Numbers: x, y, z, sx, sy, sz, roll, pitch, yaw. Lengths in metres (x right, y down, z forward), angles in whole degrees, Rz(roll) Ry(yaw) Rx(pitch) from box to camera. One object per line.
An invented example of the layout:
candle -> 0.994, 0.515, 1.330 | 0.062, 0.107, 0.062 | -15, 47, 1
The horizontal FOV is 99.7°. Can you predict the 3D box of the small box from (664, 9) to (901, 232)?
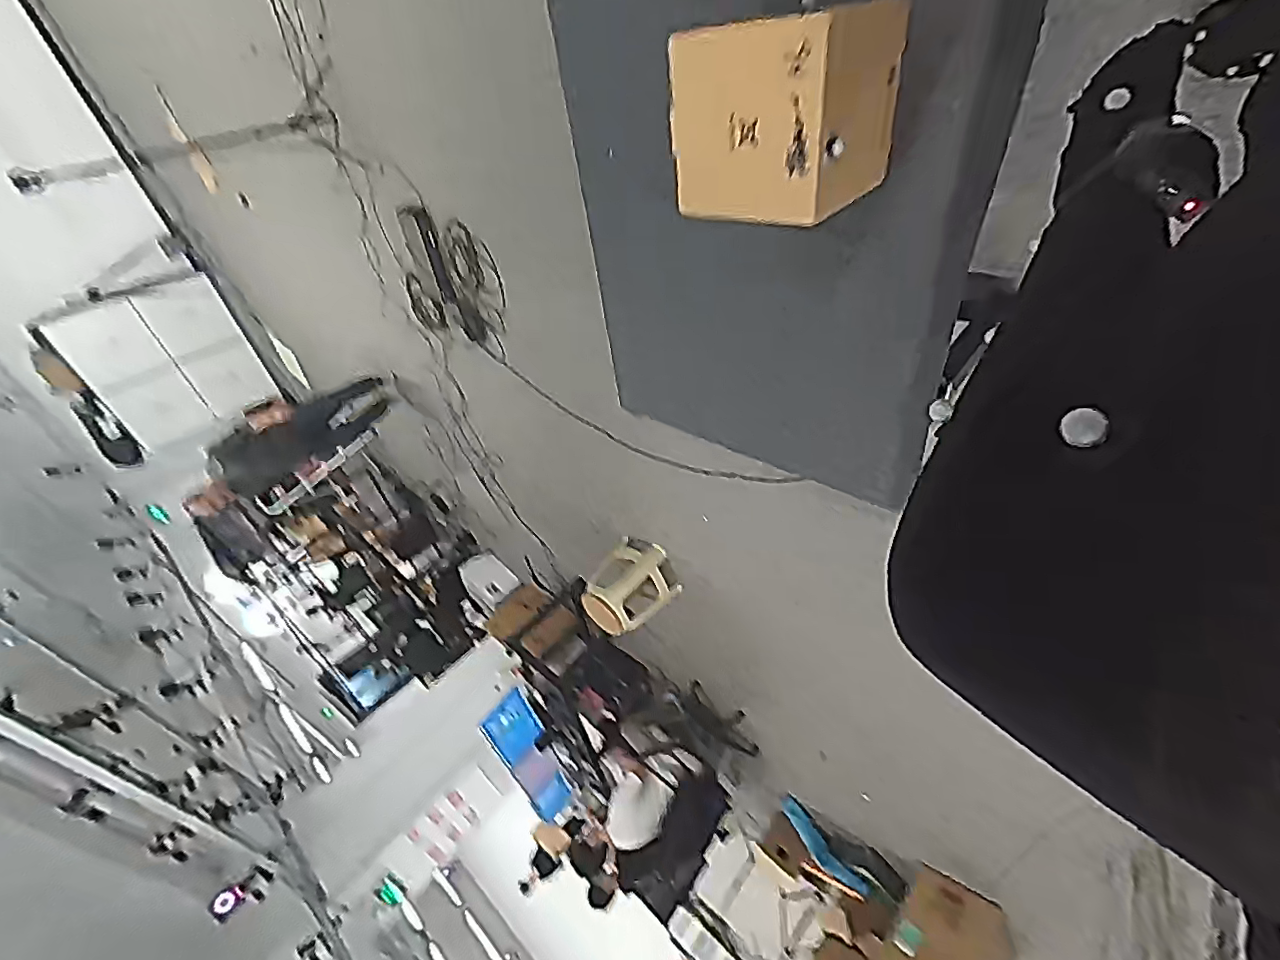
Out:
small box -> 0.151, -0.389, 0.588 | 0.179, 0.176, 0.168 | 26, 142, 35
